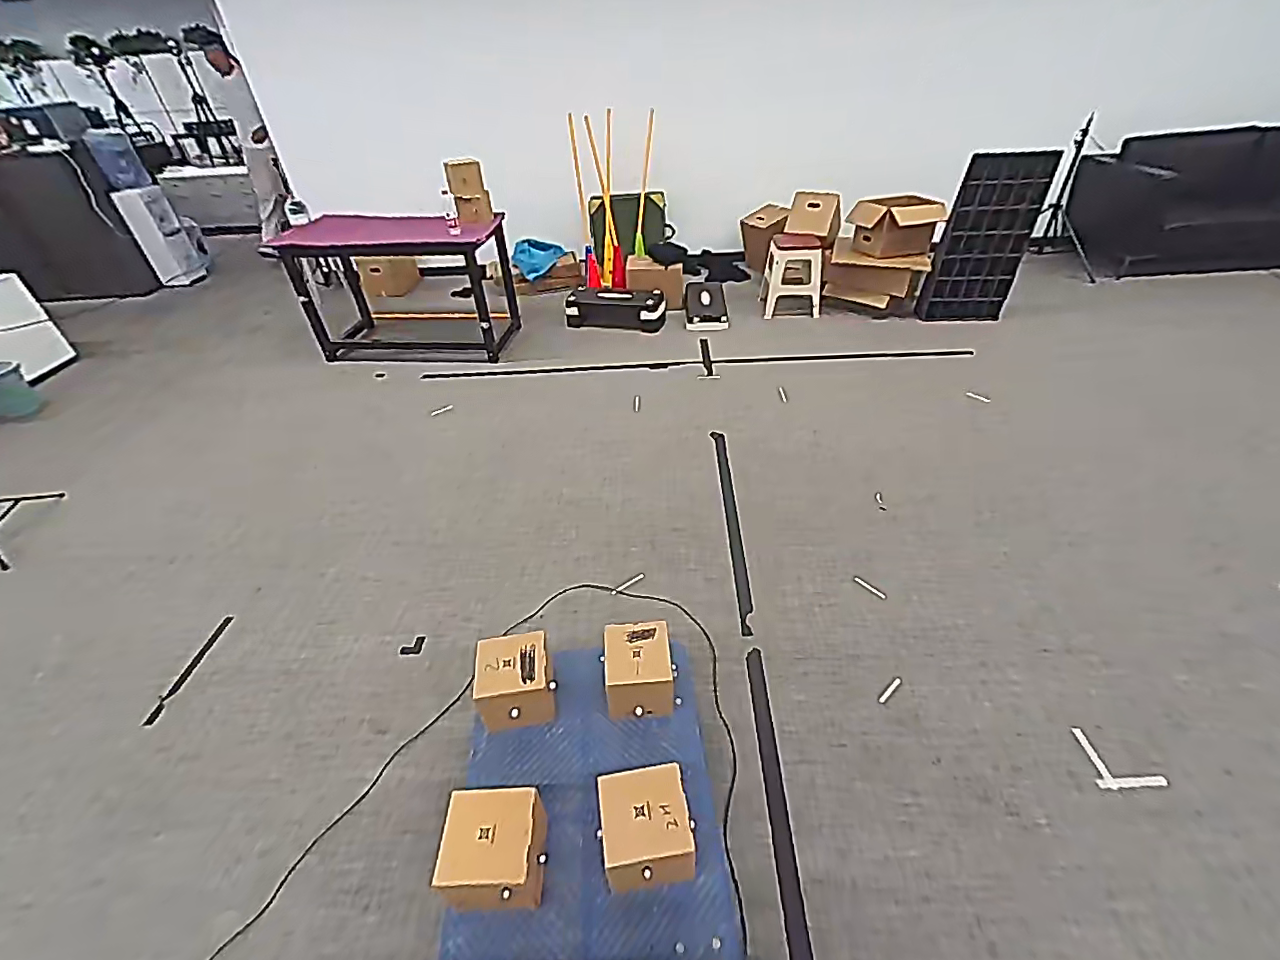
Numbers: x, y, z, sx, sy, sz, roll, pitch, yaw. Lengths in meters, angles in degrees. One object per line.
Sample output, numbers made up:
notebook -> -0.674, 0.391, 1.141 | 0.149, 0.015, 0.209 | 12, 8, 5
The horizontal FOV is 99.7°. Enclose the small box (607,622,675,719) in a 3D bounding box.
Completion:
small box -> 0.001, 0.494, 1.404 | 0.168, 0.176, 0.179 | -4, 40, -1

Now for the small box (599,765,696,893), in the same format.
small box -> 0.015, 0.723, 1.119 | 0.179, 0.176, 0.168 | -7, 39, -5

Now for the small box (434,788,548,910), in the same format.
small box -> -0.292, 0.754, 1.103 | 0.179, 0.176, 0.168 | -2, 39, -1
